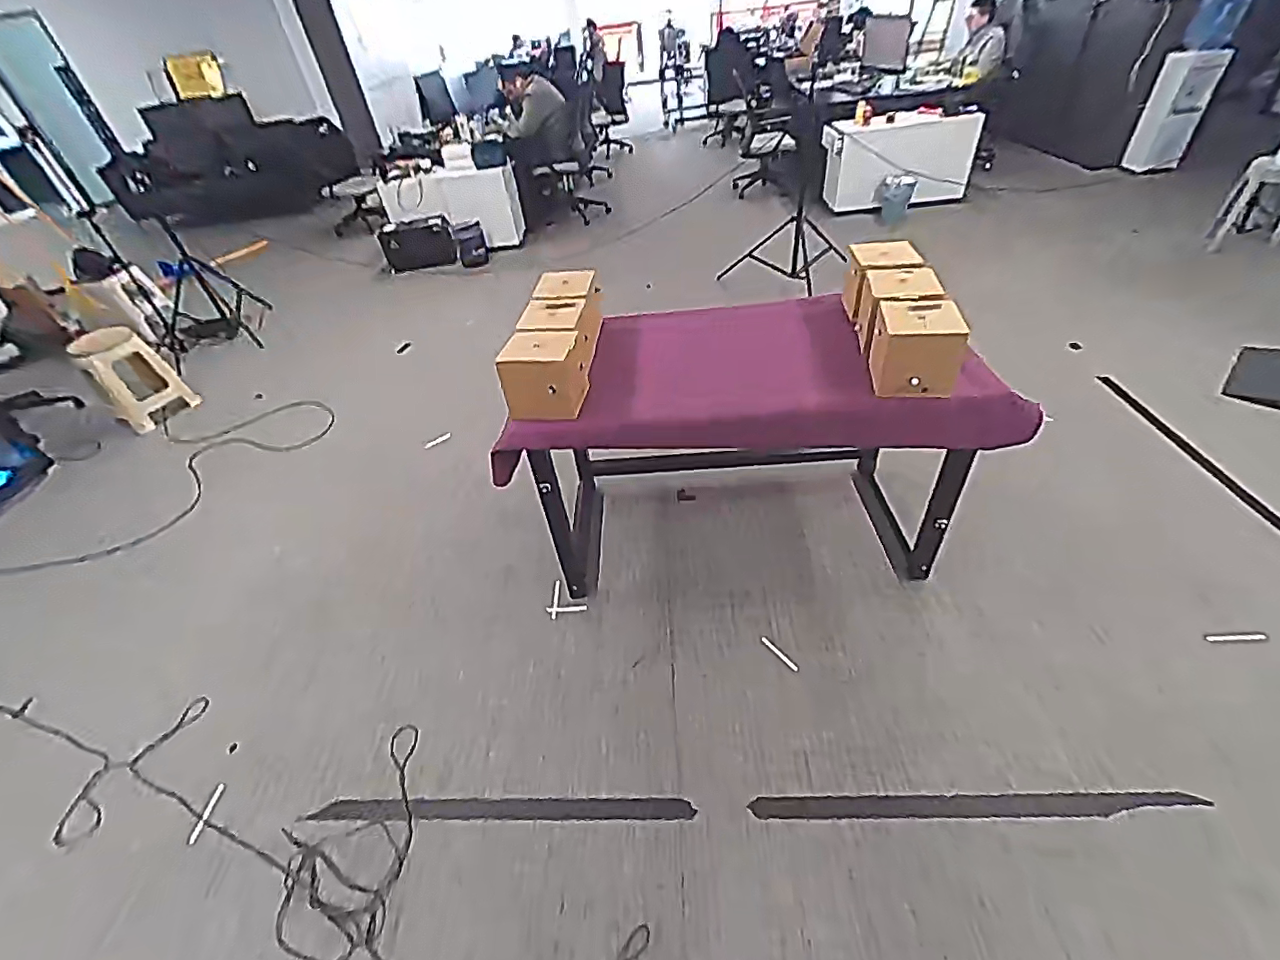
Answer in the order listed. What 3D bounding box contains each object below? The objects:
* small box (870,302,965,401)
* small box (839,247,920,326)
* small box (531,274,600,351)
[{"bbox_3d":[0.657,-0.310,1.303,0.168,0.176,0.179,2,46,15],"label":"small box"},{"bbox_3d":[0.694,-0.568,1.588,0.168,0.176,0.179,-1,41,7],"label":"small box"},{"bbox_3d":[-0.220,-0.512,1.658,0.168,0.176,0.179,-1,43,7],"label":"small box"}]
